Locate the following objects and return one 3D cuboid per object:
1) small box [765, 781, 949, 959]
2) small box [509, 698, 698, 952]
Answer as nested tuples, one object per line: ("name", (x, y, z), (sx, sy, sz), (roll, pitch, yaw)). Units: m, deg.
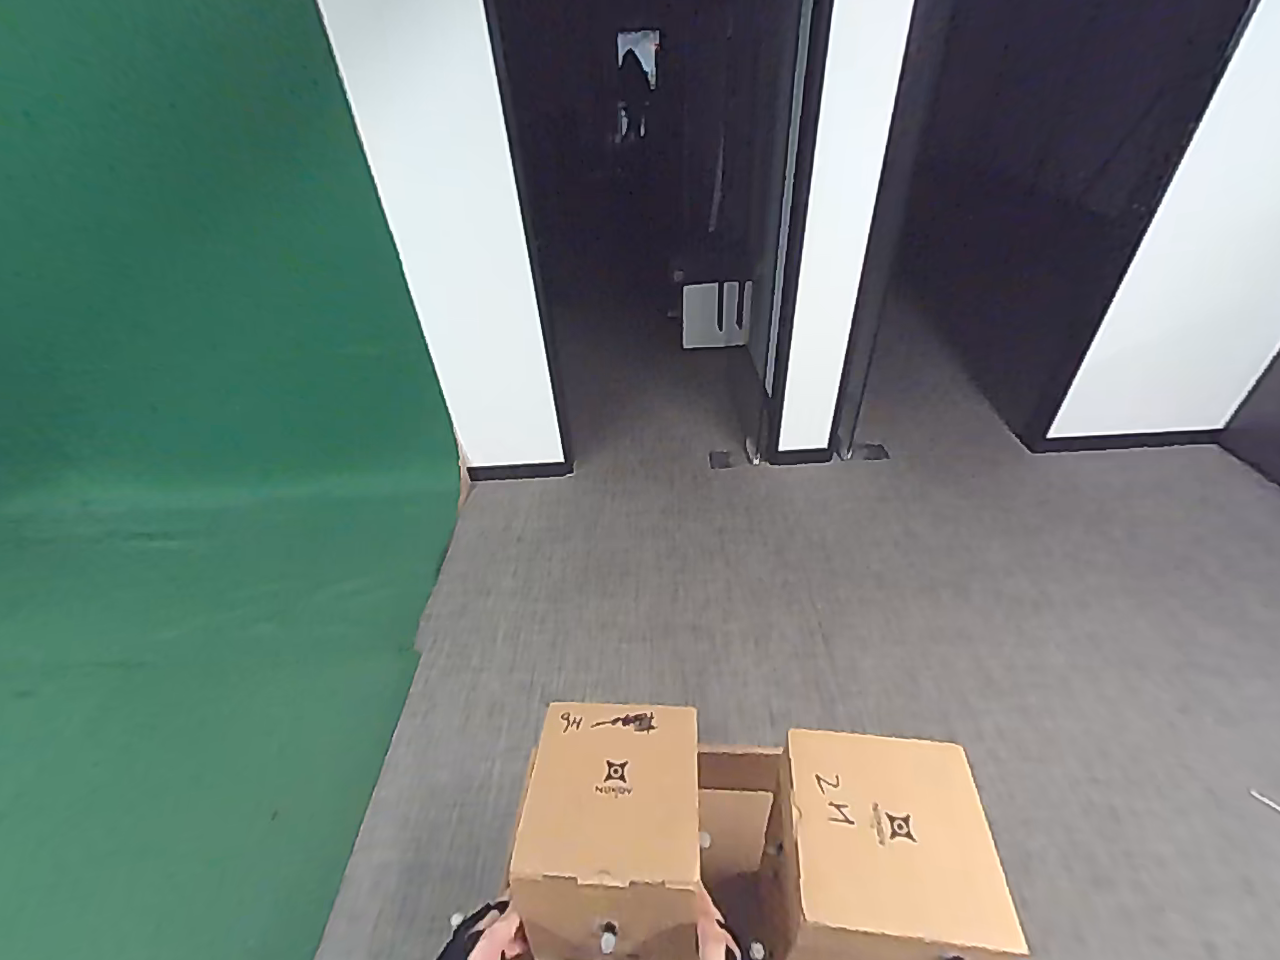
("small box", (0.244, 0.498, 0.655), (0.168, 0.176, 0.179), (1, 41, 8))
("small box", (-0.023, 0.359, 0.571), (0.168, 0.176, 0.179), (0, 32, 5))
